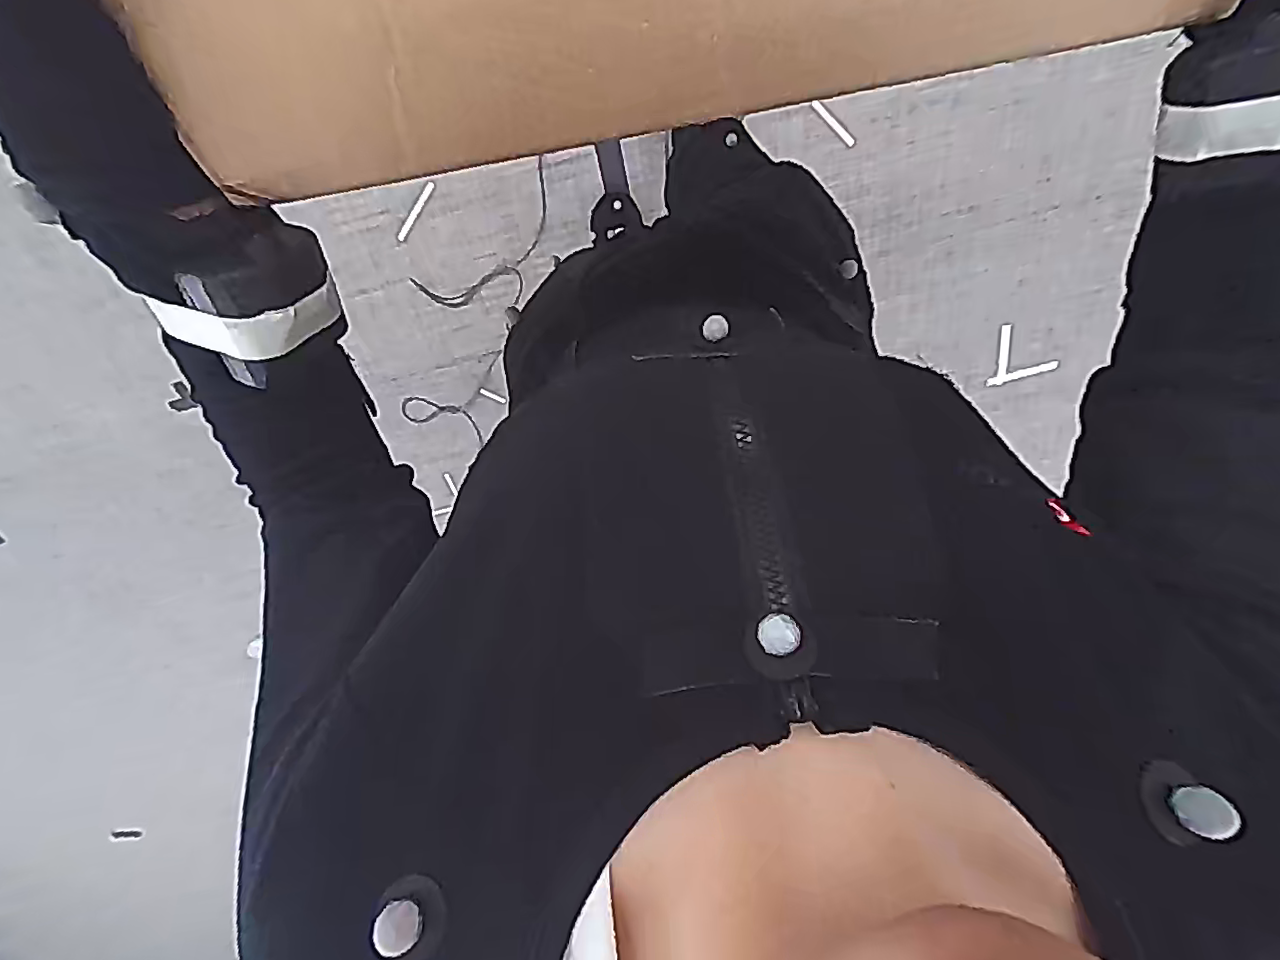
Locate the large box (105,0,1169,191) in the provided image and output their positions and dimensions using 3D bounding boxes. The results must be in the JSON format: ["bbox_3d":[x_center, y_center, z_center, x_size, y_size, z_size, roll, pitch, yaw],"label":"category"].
[{"bbox_3d":[-0.012,-0.366,0.192,0.408,0.320,0.320,-9,143,3],"label":"large box"}]
